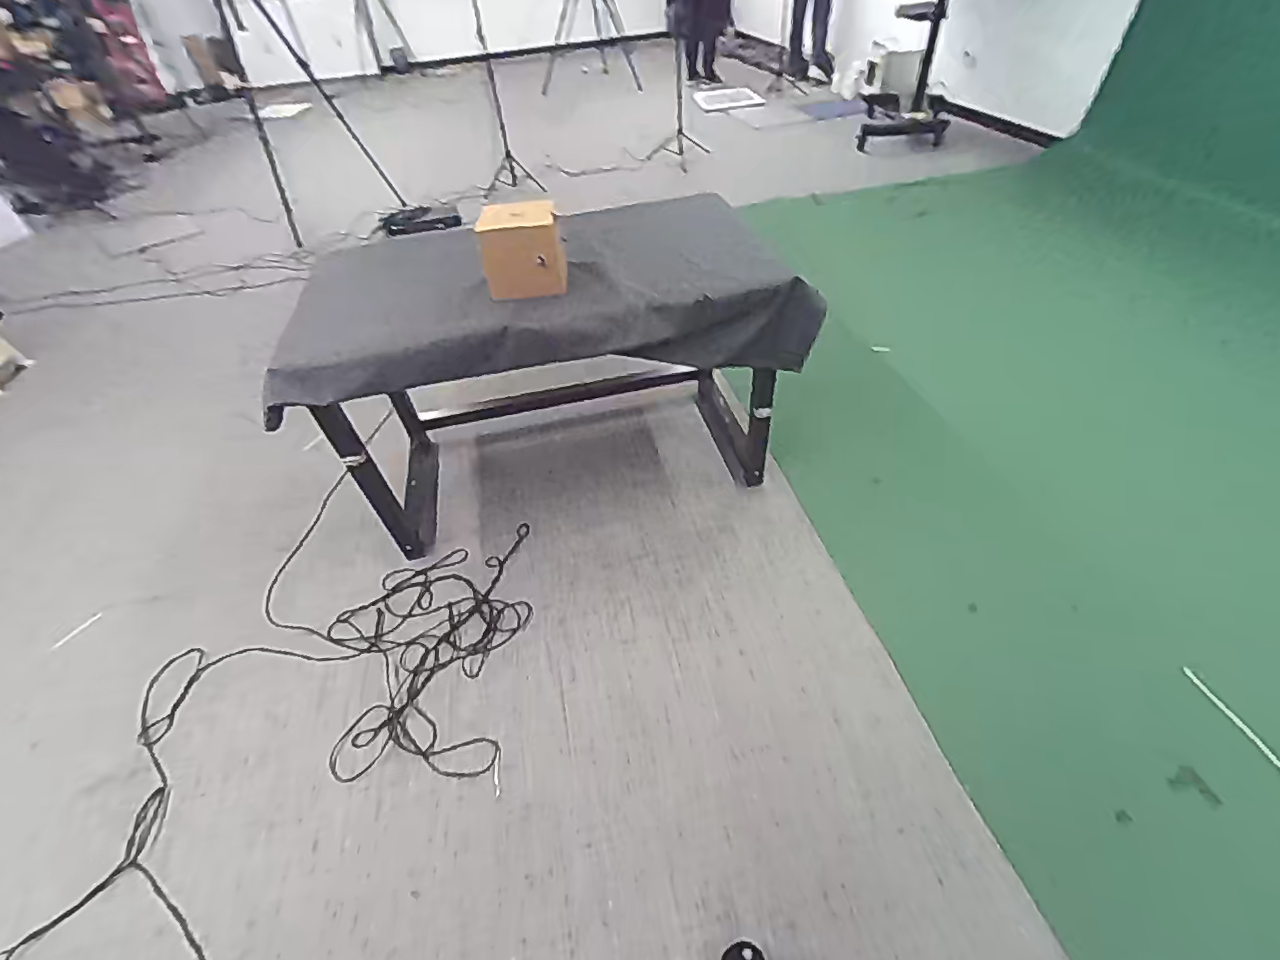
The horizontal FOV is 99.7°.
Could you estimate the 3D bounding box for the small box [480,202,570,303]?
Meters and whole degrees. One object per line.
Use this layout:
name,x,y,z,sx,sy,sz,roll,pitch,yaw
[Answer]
small box,-0.267,-0.545,1.301,0.179,0.176,0.168,-6,44,1
